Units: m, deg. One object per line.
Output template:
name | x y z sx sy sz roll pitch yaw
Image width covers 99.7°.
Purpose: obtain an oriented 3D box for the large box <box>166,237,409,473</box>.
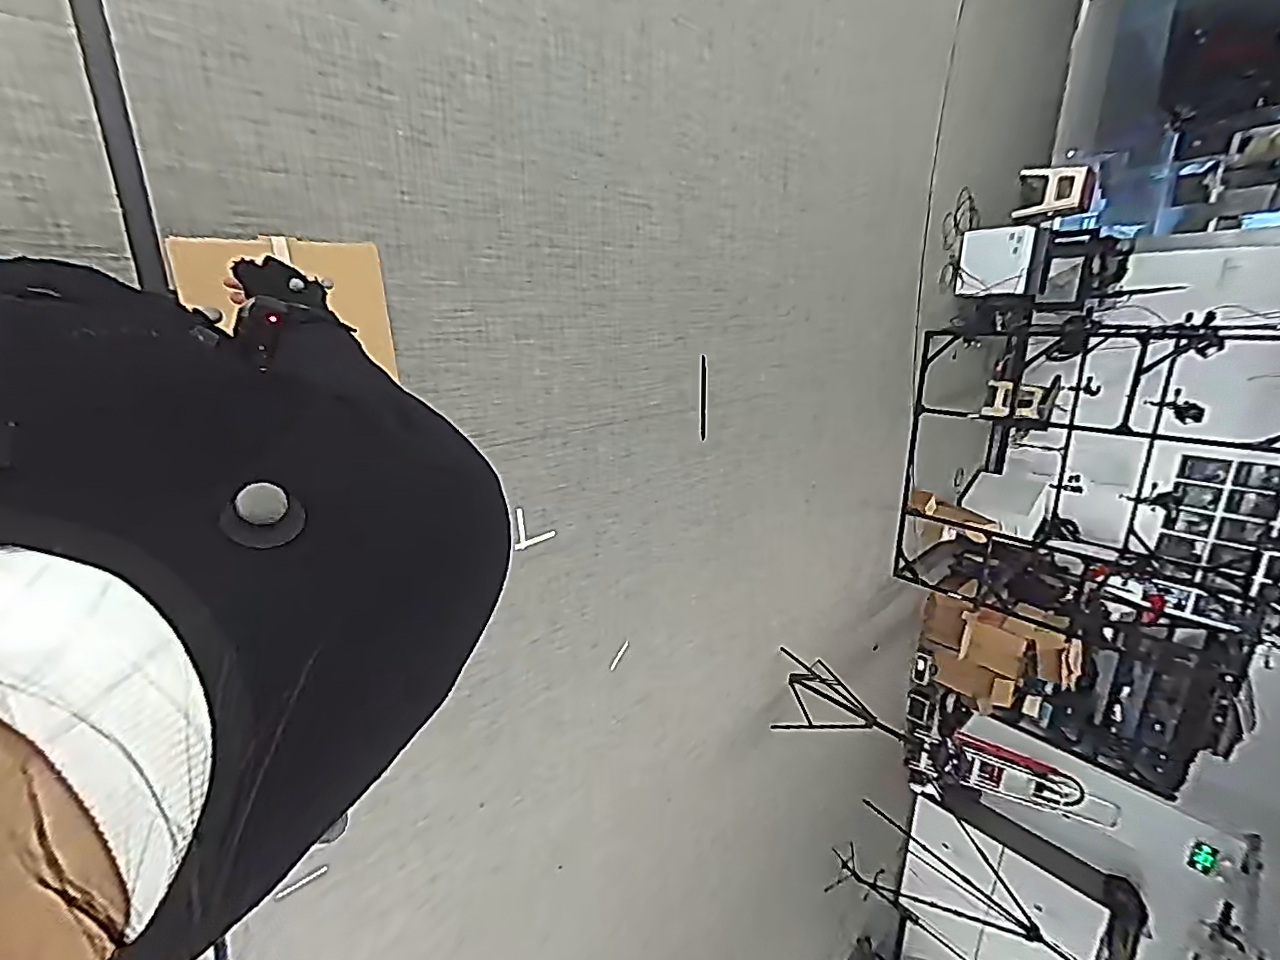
large box | -0.705 -0.268 1.108 0.320 0.320 0.408 -14 113 -33
